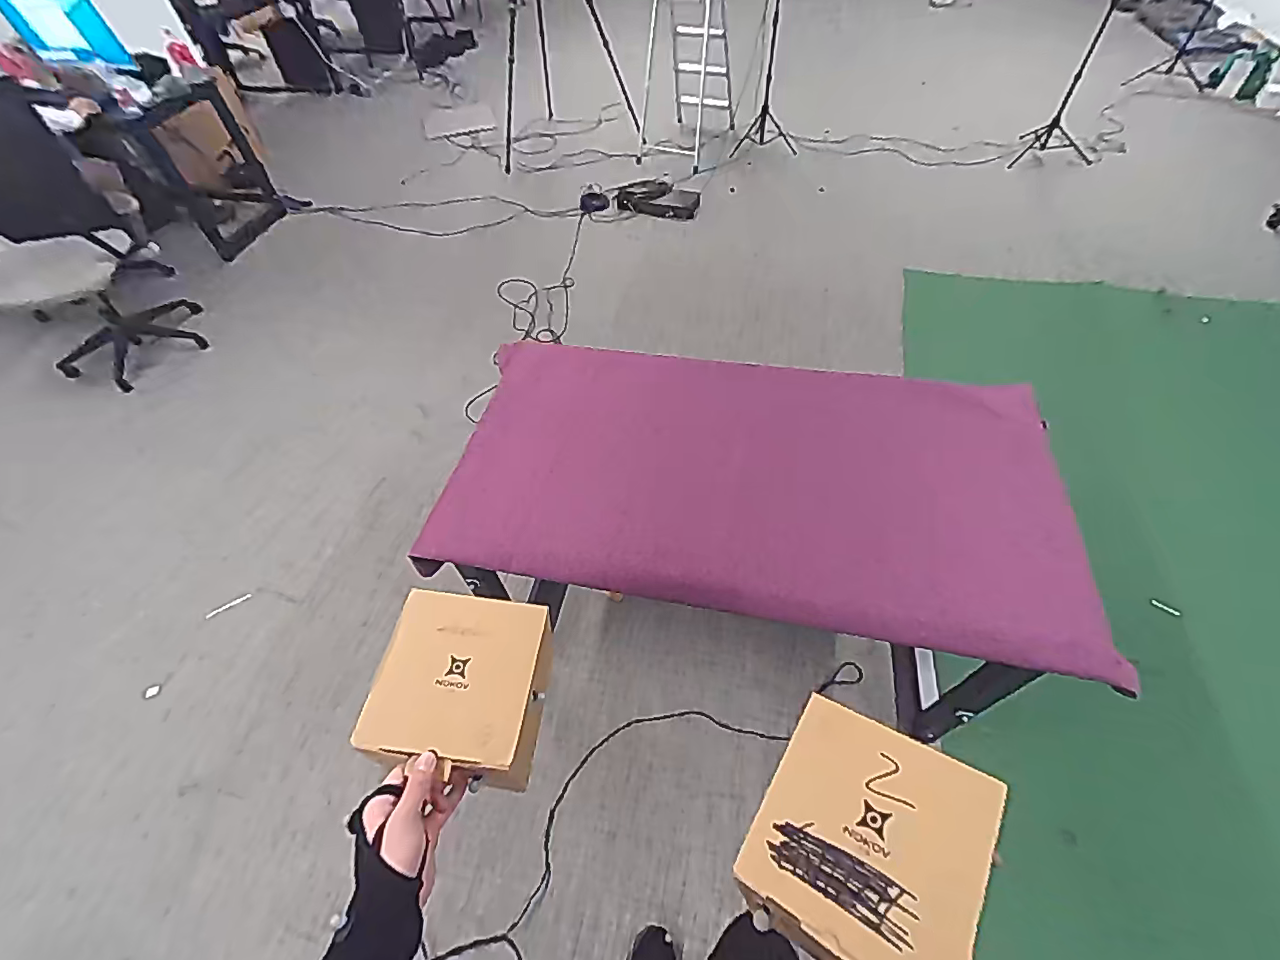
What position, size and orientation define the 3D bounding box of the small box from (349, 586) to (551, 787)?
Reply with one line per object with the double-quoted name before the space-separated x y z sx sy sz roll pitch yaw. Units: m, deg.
"small box" -0.207 0.253 0.651 0.168 0.176 0.179 8 52 1
